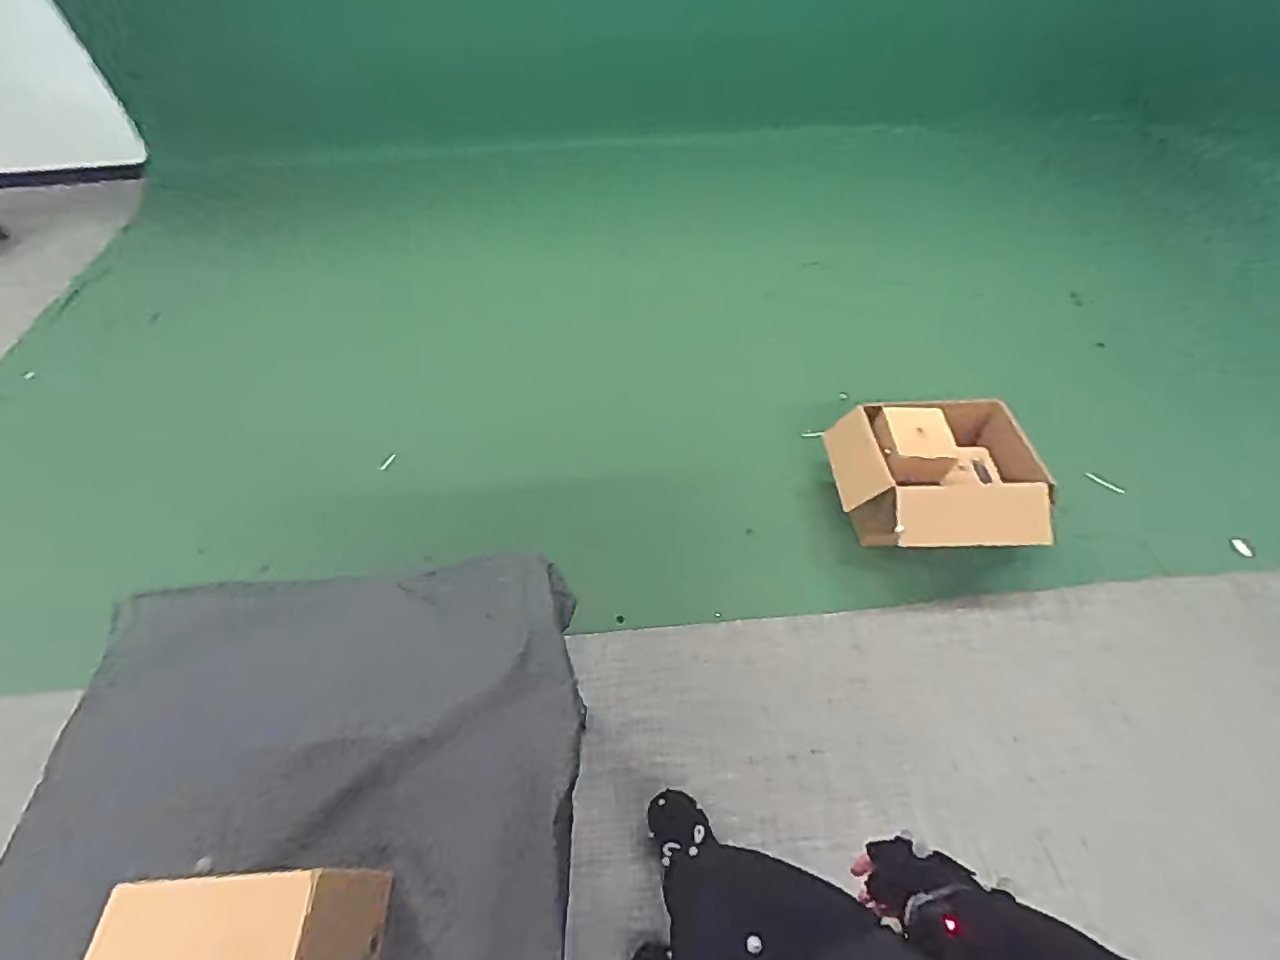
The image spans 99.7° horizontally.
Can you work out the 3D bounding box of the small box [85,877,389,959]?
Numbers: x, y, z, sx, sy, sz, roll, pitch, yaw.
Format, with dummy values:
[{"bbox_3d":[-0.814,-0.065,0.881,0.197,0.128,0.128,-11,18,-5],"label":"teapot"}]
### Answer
[{"bbox_3d":[-0.352,0.456,0.471,0.179,0.176,0.168,-4,53,-2],"label":"small box"}]
